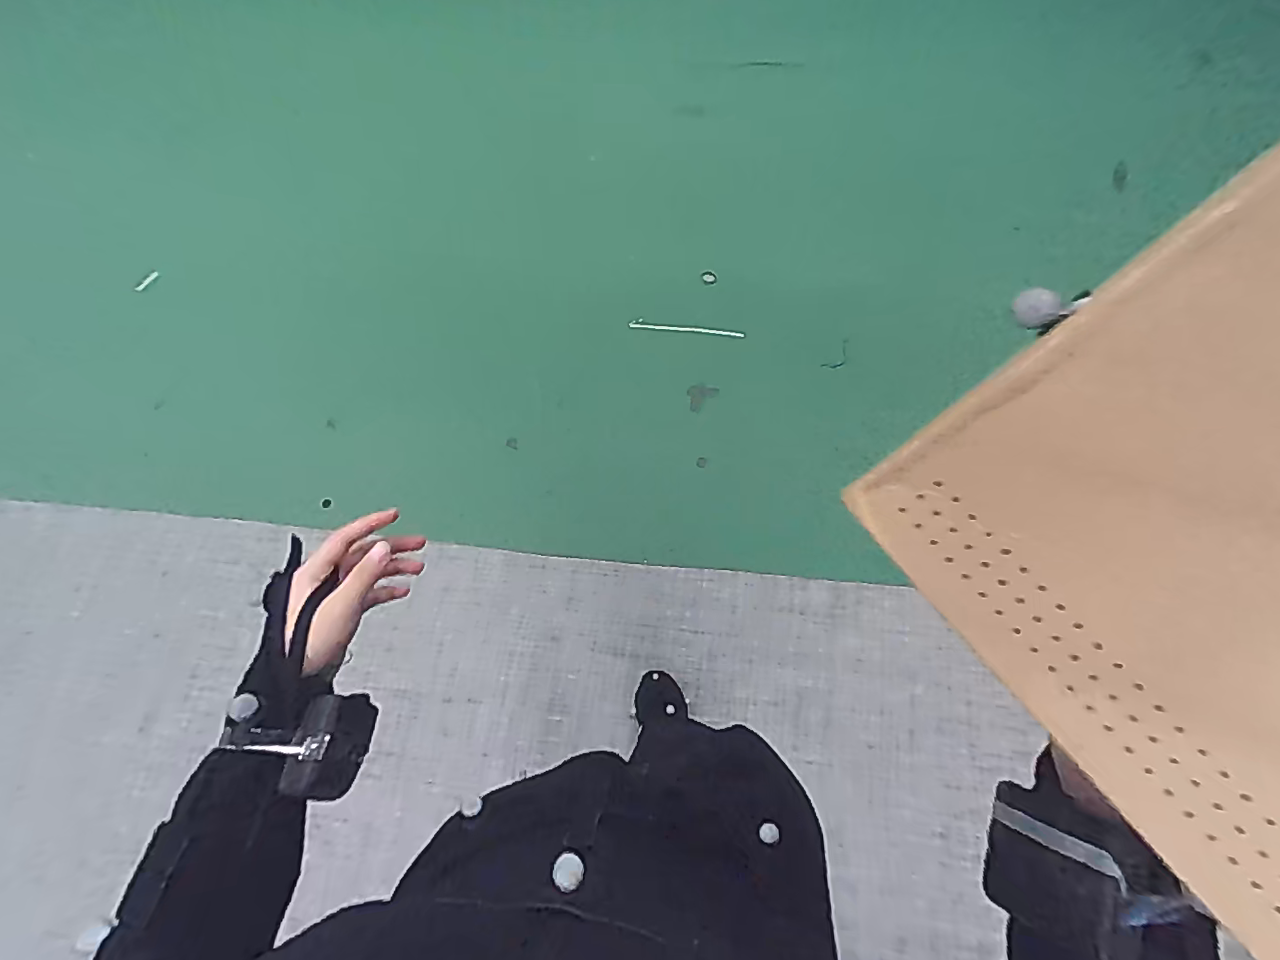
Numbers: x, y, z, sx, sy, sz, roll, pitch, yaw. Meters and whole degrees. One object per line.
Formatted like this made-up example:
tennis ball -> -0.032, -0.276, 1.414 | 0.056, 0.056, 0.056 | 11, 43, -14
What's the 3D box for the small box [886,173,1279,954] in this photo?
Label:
small box -> 0.218, 0.013, 0.180 | 0.179, 0.176, 0.168 | 51, 35, 15
